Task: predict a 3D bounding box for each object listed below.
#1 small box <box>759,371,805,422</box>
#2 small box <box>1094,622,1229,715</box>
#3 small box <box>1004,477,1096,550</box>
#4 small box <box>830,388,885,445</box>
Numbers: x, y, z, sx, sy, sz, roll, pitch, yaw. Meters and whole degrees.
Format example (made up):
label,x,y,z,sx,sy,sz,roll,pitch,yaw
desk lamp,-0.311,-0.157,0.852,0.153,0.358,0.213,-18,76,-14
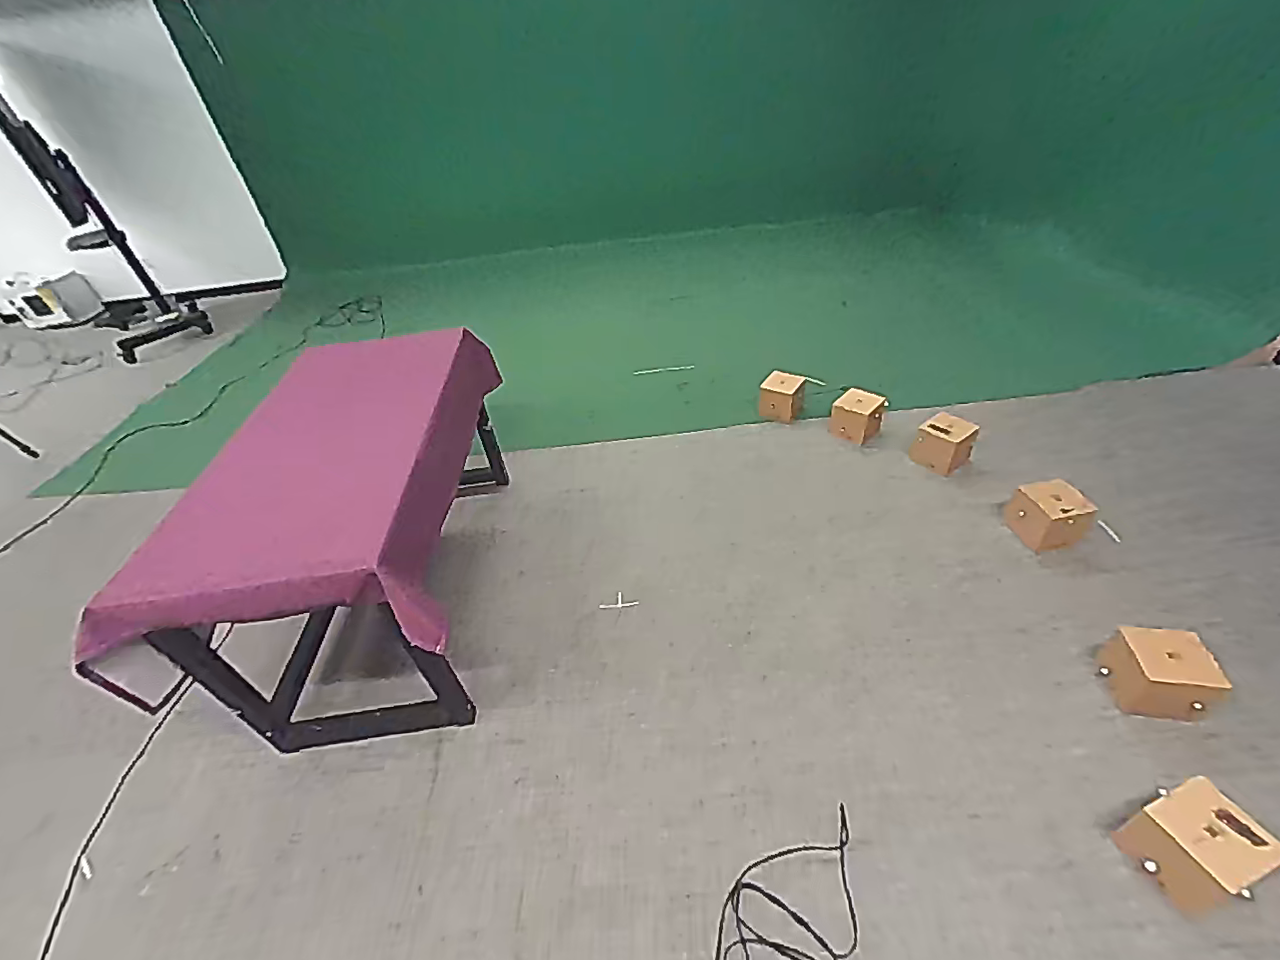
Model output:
label,x,y,z,sx,sy,sz,roll,pitch,yaw
small box,0.694,-0.405,2.645,0.168,0.176,0.179,21,47,29
small box,1.368,0.502,1.434,0.179,0.176,0.168,2,40,12
small box,1.420,0.117,1.890,0.168,0.176,0.179,-11,38,-3
small box,0.985,-0.290,2.462,0.168,0.176,0.179,28,52,36
